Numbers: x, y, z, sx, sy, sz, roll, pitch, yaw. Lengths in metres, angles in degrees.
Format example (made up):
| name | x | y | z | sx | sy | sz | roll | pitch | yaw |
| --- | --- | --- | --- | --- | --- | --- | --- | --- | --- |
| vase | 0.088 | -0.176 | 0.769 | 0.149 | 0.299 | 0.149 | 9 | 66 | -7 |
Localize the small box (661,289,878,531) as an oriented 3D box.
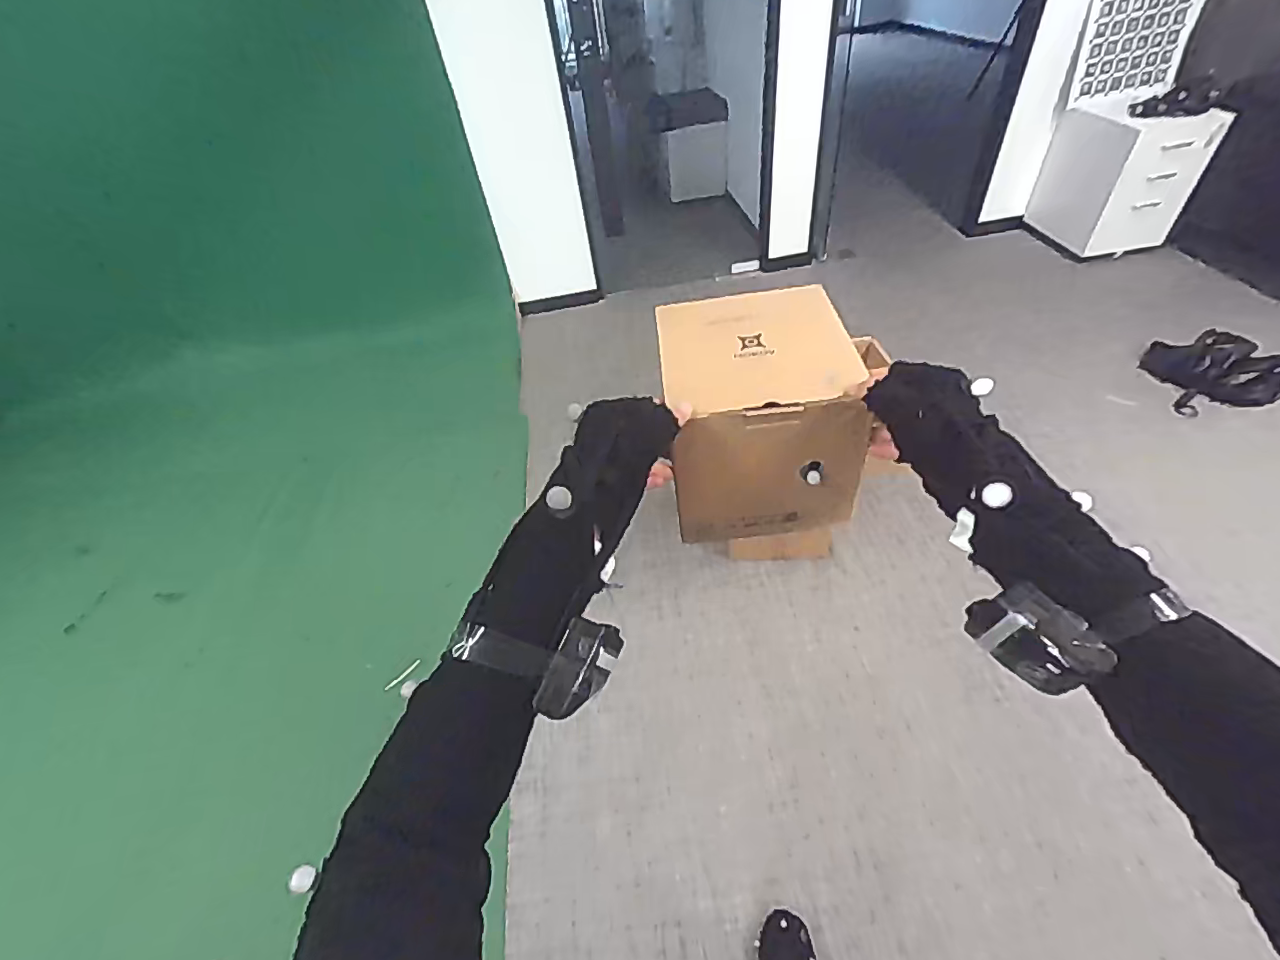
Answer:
| name | x | y | z | sx | sy | sz | roll | pitch | yaw |
| --- | --- | --- | --- | --- | --- | --- | --- | --- | --- |
| small box | 0.114 | -0.063 | 0.539 | 0.168 | 0.176 | 0.179 | -6 | 45 | 3 |
